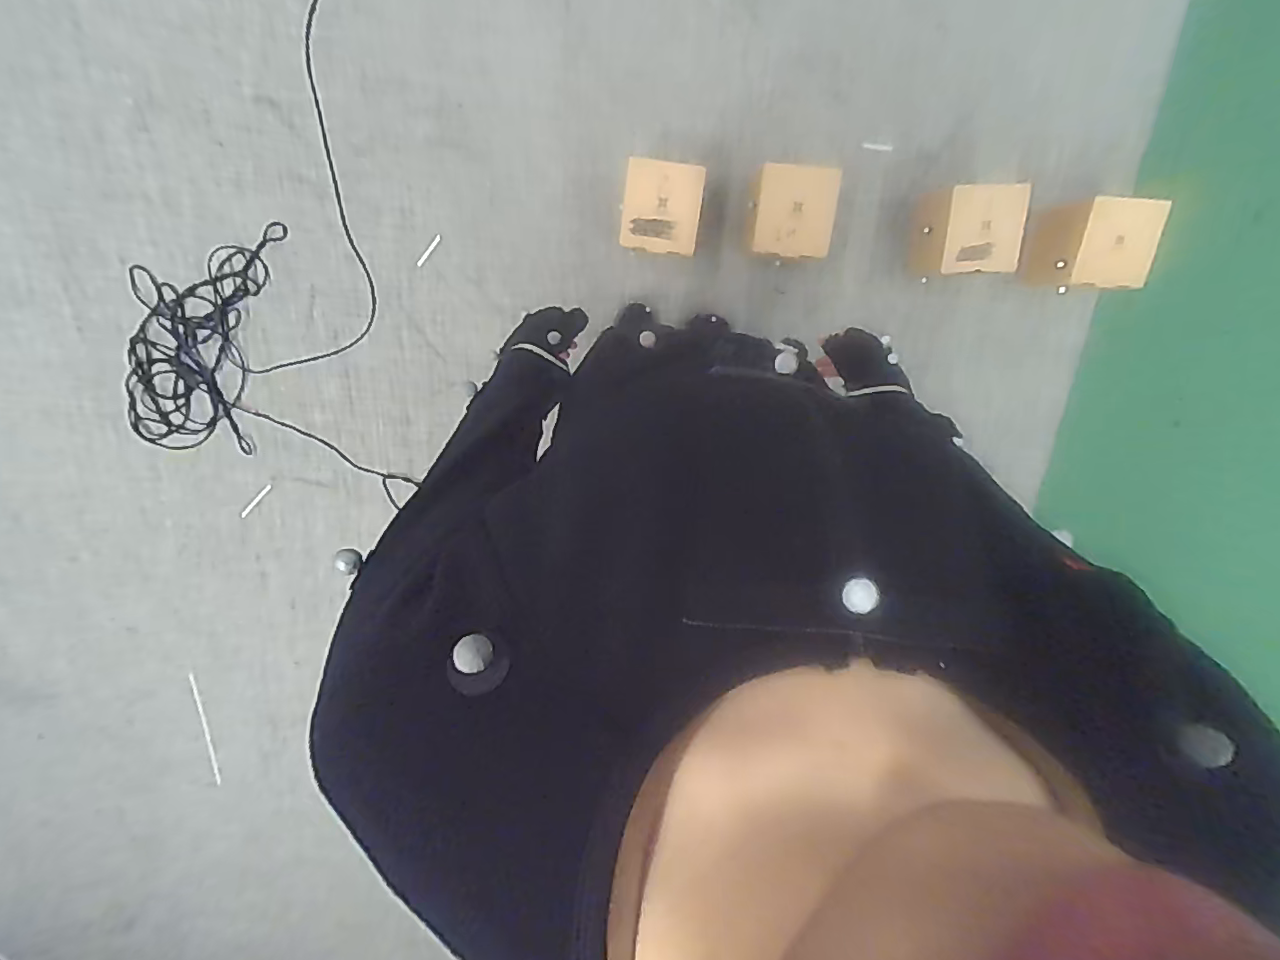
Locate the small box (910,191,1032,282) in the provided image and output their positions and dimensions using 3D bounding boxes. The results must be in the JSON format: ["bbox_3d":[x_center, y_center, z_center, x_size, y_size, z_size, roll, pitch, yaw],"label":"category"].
[{"bbox_3d":[0.739,-0.546,1.231,0.168,0.176,0.179,0,107,1],"label":"small box"}]

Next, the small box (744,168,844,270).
[{"bbox_3d":[0.338,-0.582,1.223,0.168,0.176,0.179,5,108,0],"label":"small box"}]

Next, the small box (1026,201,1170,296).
[{"bbox_3d":[1.030,-0.521,1.235,0.168,0.176,0.179,4,108,1],"label":"small box"}]
